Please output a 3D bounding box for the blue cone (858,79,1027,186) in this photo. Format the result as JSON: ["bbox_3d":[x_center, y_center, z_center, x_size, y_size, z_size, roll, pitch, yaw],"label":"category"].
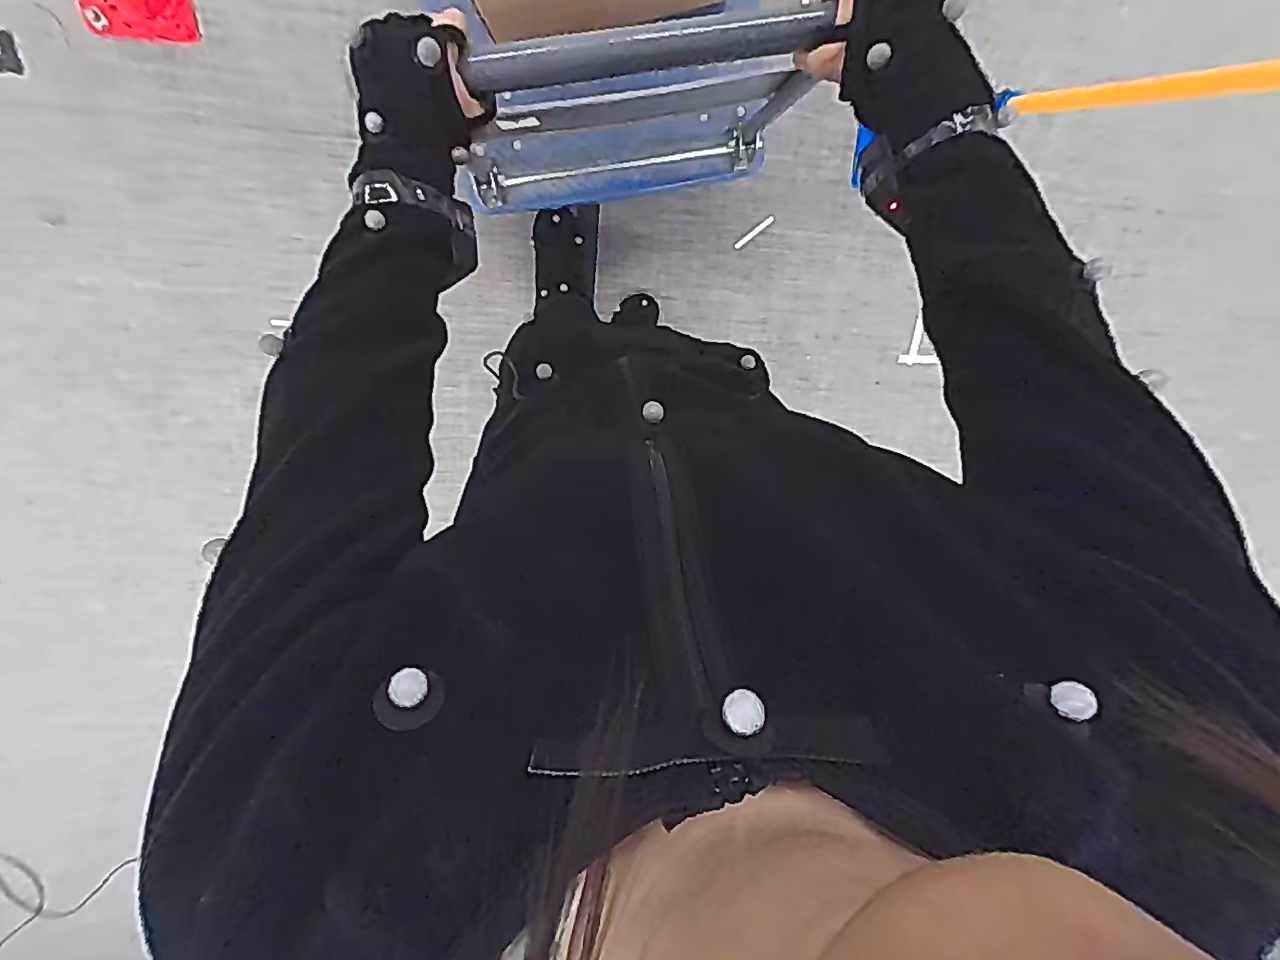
[{"bbox_3d":[0.598,-0.696,1.052,0.193,0.380,0.192,-1,114,-5],"label":"blue cone"}]
